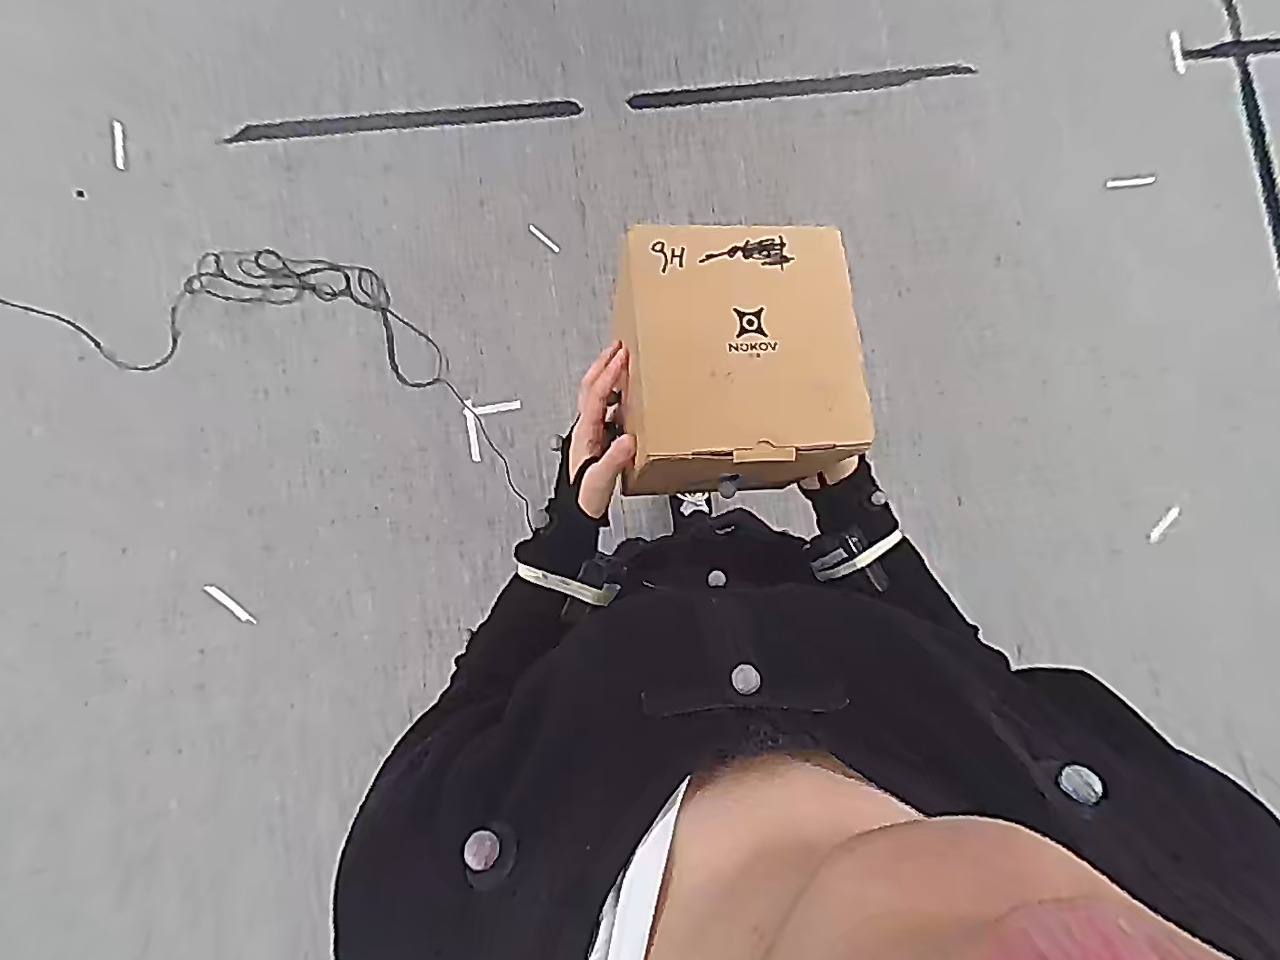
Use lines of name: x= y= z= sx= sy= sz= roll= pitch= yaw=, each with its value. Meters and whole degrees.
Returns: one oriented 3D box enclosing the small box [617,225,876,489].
small box: x=0.072 y=-0.088 z=0.463 sx=0.168 sy=0.176 sz=0.179 roll=-3 pitch=80 yaw=-9
